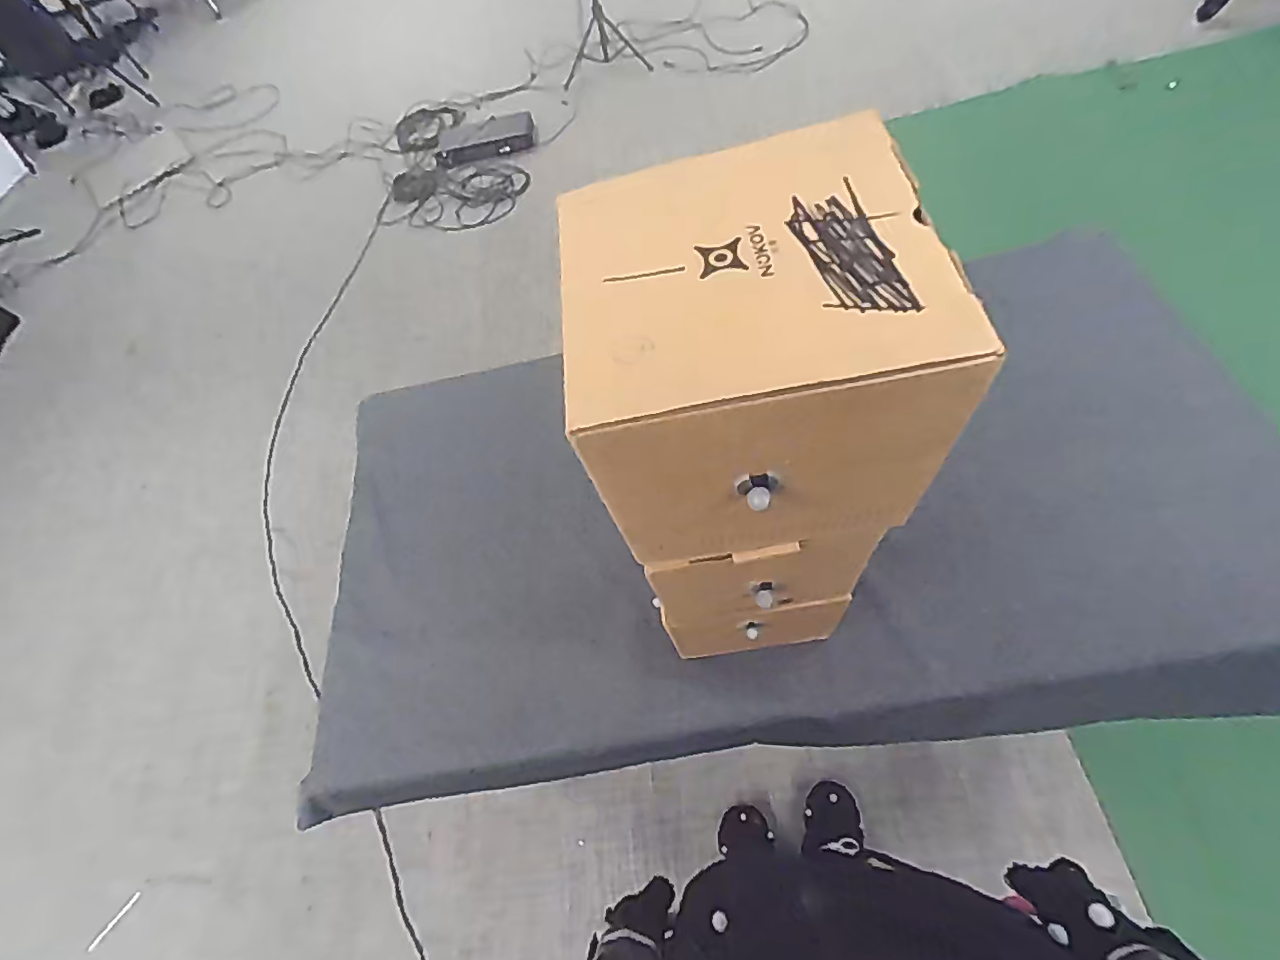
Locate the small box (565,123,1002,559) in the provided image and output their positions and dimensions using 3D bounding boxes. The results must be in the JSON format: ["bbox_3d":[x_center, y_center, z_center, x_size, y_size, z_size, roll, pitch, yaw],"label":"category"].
[{"bbox_3d":[0.063,-0.064,0.323,0.179,0.176,0.168,-10,61,7],"label":"small box"}]

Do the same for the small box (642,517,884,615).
[{"bbox_3d":[0.086,0.010,0.469,0.168,0.176,0.179,-12,61,5],"label":"small box"}]

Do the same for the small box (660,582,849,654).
[{"bbox_3d":[0.113,0.090,0.609,0.179,0.176,0.168,-10,61,5],"label":"small box"}]
